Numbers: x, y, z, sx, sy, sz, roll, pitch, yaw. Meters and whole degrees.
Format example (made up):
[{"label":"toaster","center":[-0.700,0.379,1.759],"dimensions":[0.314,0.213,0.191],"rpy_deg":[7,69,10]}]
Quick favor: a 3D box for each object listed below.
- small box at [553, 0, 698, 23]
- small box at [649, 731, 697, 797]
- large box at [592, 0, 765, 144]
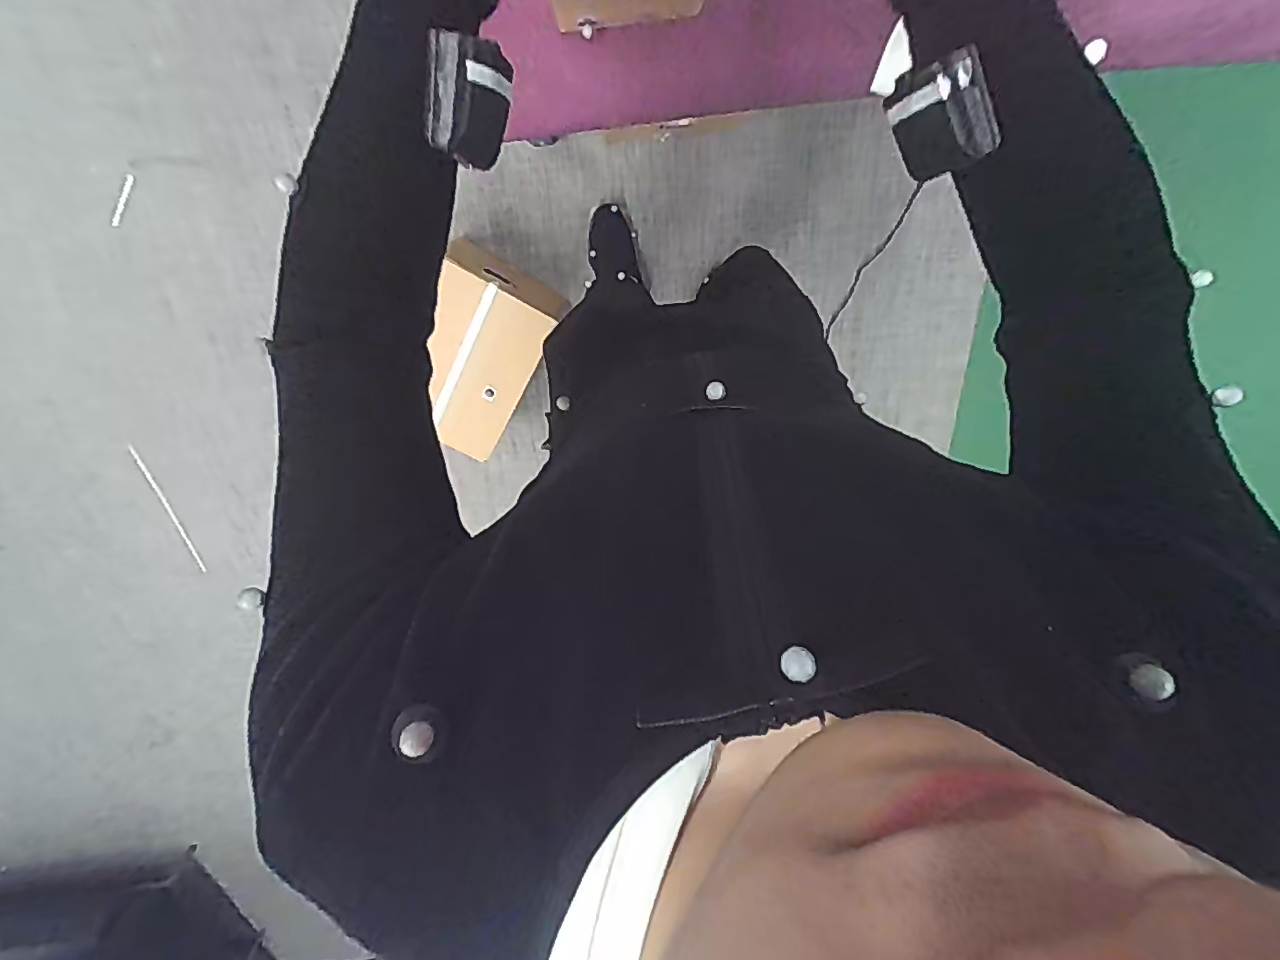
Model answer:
[{"label":"small box","center":[-0.018,-0.571,0.516],"dimensions":[0.168,0.176,0.179],"rpy_deg":[-7,116,0]},{"label":"small box","center":[0.130,1.155,2.205],"dimensions":[0.179,0.176,0.168],"rpy_deg":[-9,117,1]},{"label":"large box","center":[0.060,-0.935,1.079],"dimensions":[0.320,0.320,0.408],"rpy_deg":[-6,117,0]}]
